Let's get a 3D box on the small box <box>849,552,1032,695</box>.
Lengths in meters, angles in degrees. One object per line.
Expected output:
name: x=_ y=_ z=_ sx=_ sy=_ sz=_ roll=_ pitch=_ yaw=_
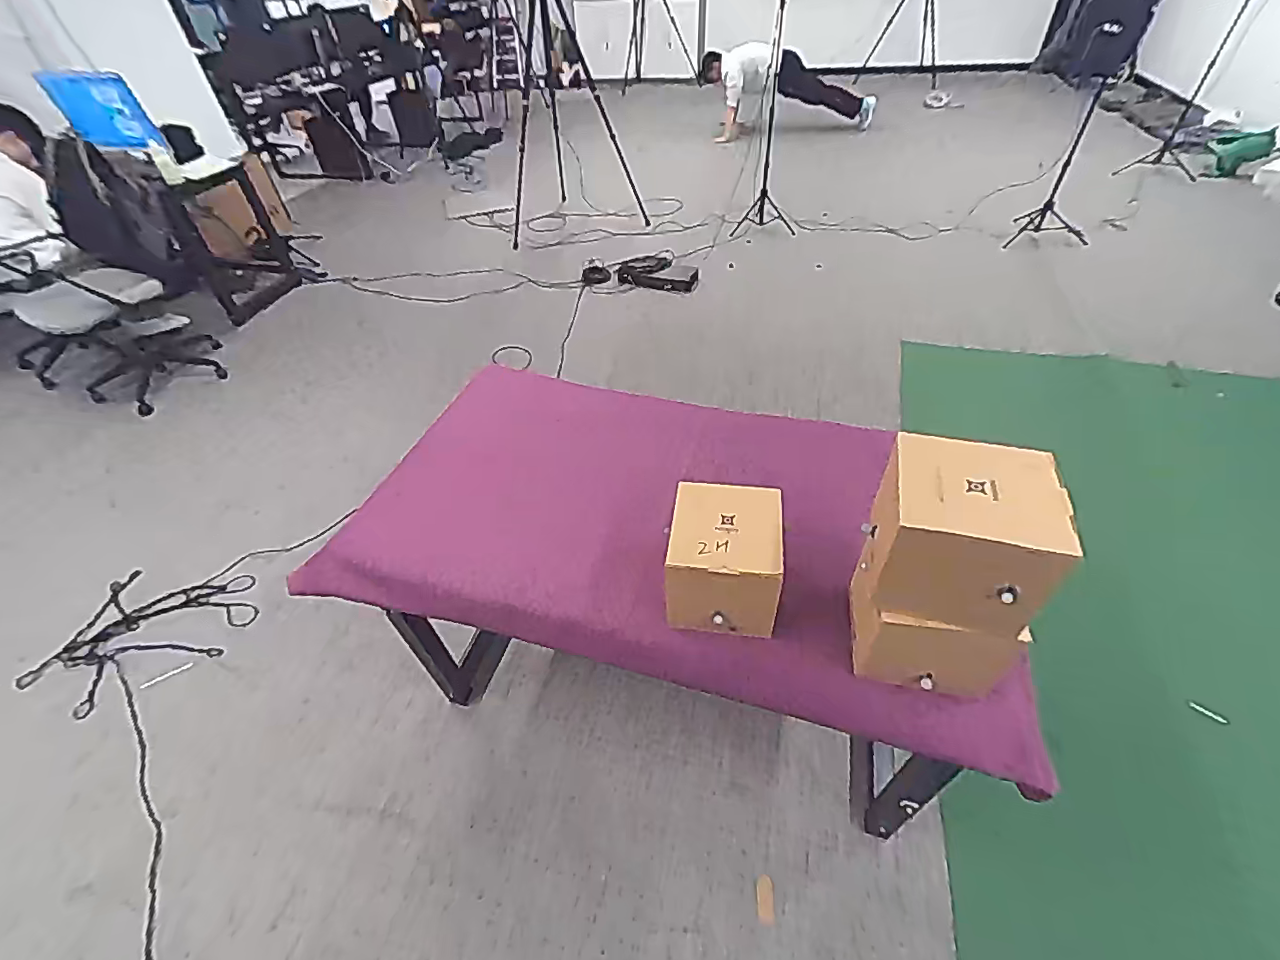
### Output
small box: x=0.412 y=0.189 z=0.779 sx=0.179 sy=0.176 sz=0.168 roll=6 pitch=45 yaw=11

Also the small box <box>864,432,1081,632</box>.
small box: x=0.393 y=0.066 z=0.672 sx=0.179 sy=0.176 sz=0.168 roll=10 pitch=47 yaw=16

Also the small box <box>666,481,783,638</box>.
small box: x=0.135 y=0.126 z=0.867 sx=0.168 sy=0.176 sz=0.179 roll=4 pitch=45 yaw=10
